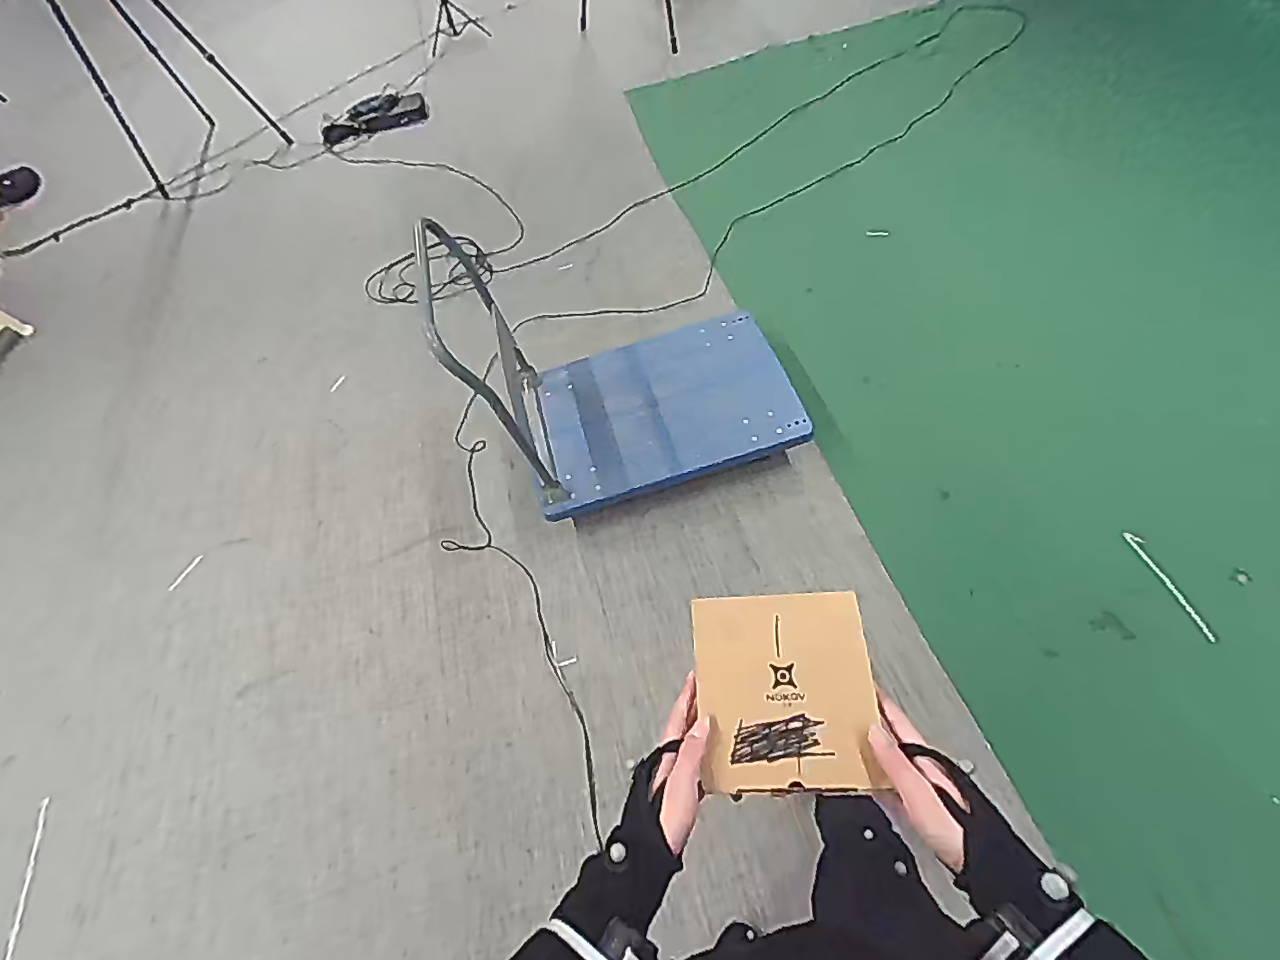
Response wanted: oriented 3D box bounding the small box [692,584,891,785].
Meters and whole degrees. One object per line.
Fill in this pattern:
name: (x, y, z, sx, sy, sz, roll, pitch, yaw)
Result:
small box: (0.146, 0.222, 0.579, 0.168, 0.176, 0.179, -4, 62, 6)
